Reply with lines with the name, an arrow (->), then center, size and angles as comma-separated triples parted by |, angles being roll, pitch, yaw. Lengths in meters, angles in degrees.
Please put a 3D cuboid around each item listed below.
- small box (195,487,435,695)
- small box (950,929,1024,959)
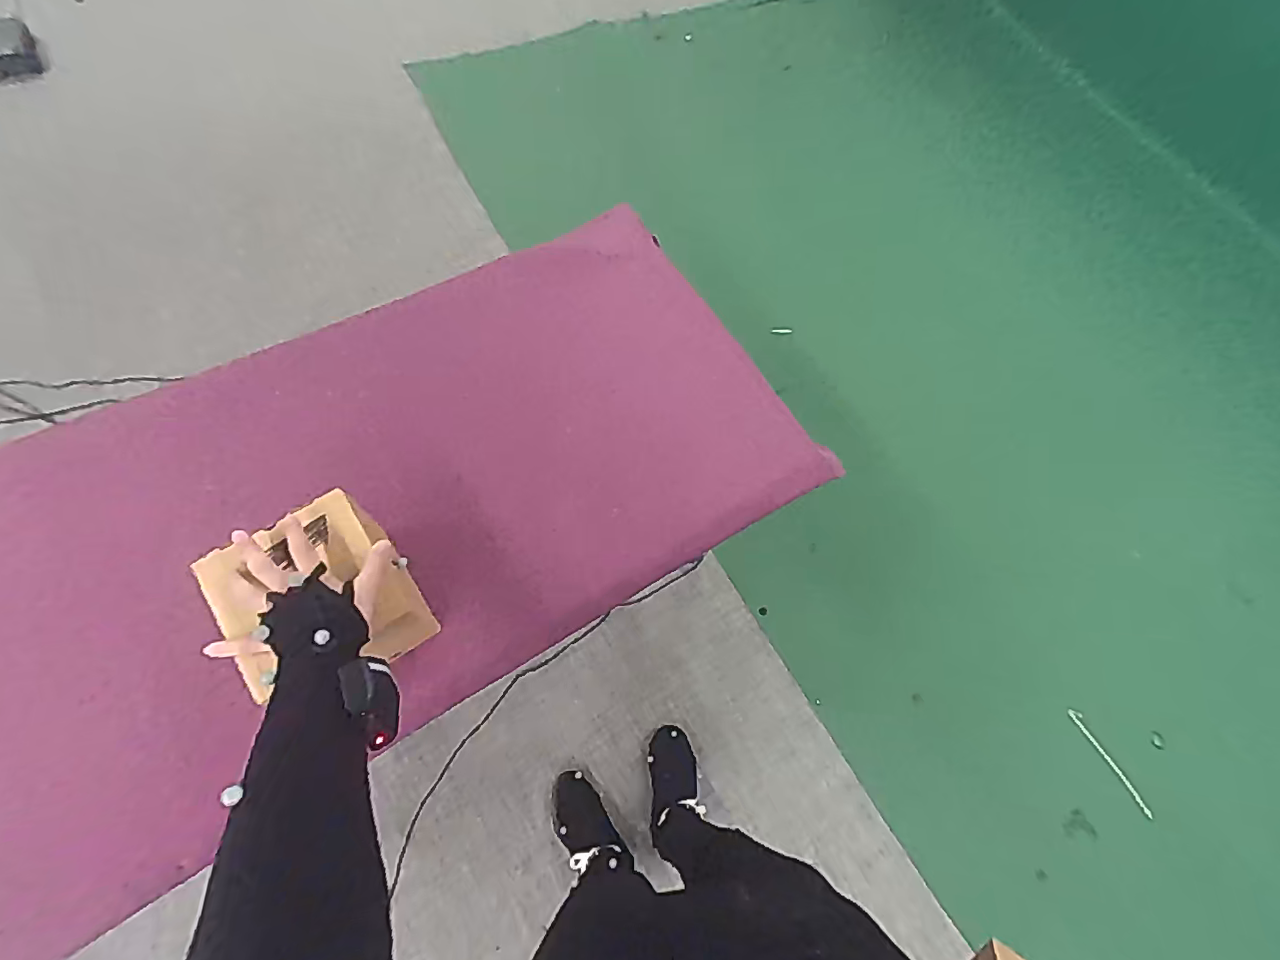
small box -> -0.378, 0.144, 0.661 | 0.168, 0.176, 0.179 | -32, 76, -18
small box -> 0.414, 0.667, 0.583 | 0.168, 0.179, 0.176 | 30, 109, 18
